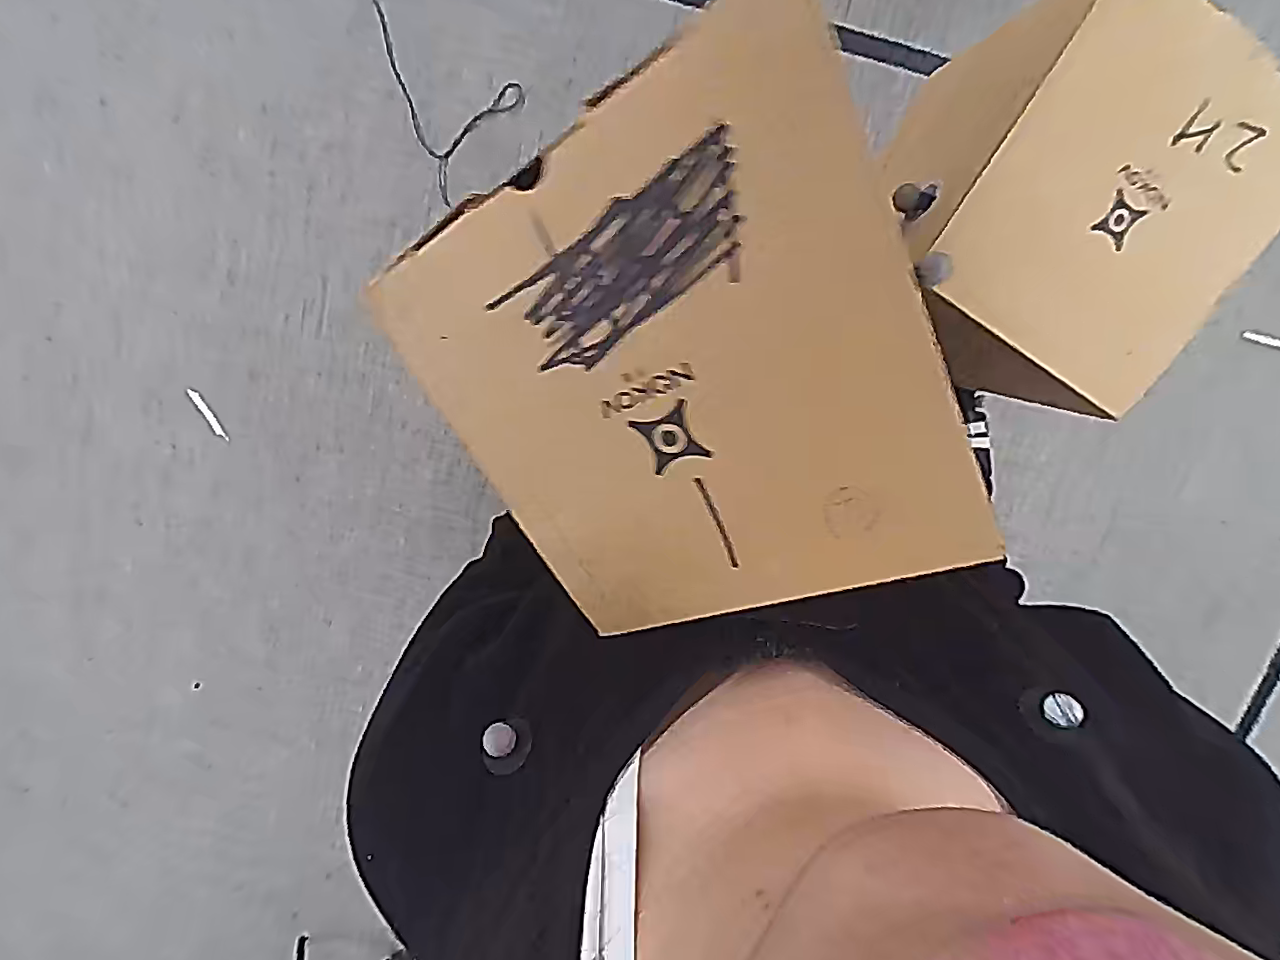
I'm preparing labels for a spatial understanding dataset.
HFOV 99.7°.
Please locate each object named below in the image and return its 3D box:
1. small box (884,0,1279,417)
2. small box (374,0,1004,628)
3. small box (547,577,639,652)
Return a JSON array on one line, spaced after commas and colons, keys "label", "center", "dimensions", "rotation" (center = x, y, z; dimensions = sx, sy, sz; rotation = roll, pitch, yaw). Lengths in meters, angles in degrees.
[{"label": "small box", "center": [0.255, -0.169, 0.361], "dimensions": [0.168, 0.176, 0.179], "rotation": [28, 103, -13]}, {"label": "small box", "center": [0.033, -0.065, 0.249], "dimensions": [0.168, 0.176, 0.179], "rotation": [-20, 112, 30]}, {"label": "small box", "center": [-0.107, 0.302, 1.003], "dimensions": [0.168, 0.176, 0.179], "rotation": [19, 100, -2]}]
